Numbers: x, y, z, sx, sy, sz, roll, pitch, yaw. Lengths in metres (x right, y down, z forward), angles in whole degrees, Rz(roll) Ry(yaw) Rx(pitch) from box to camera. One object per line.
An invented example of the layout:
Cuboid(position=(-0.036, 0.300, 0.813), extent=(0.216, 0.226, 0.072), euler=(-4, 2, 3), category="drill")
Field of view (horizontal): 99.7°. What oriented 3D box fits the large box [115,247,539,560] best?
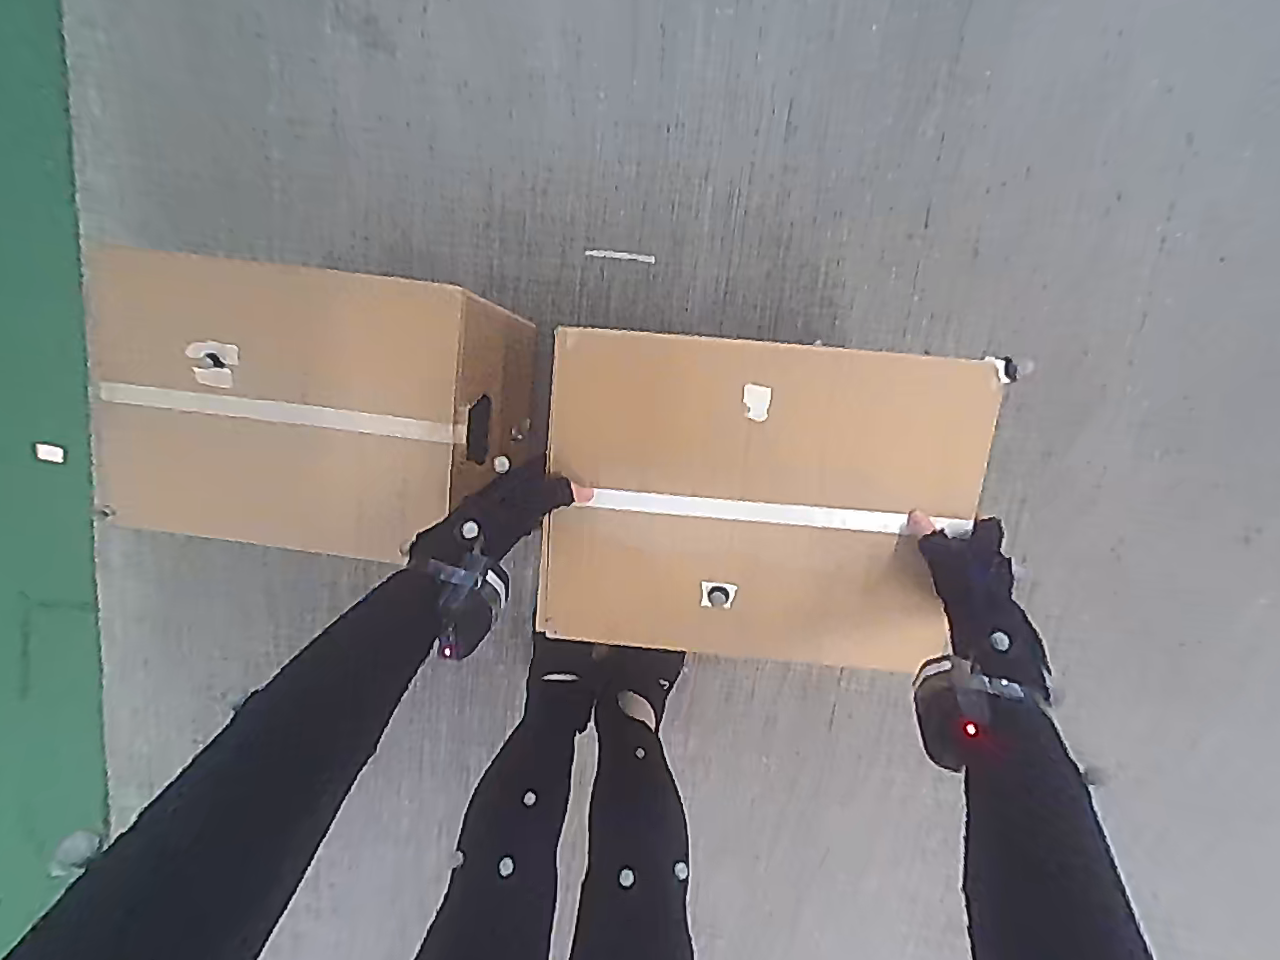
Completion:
Cuboid(position=(-0.380, -0.106, 0.749), extent=(0.408, 0.320, 0.320), euler=(8, 99, 3), category="large box")
